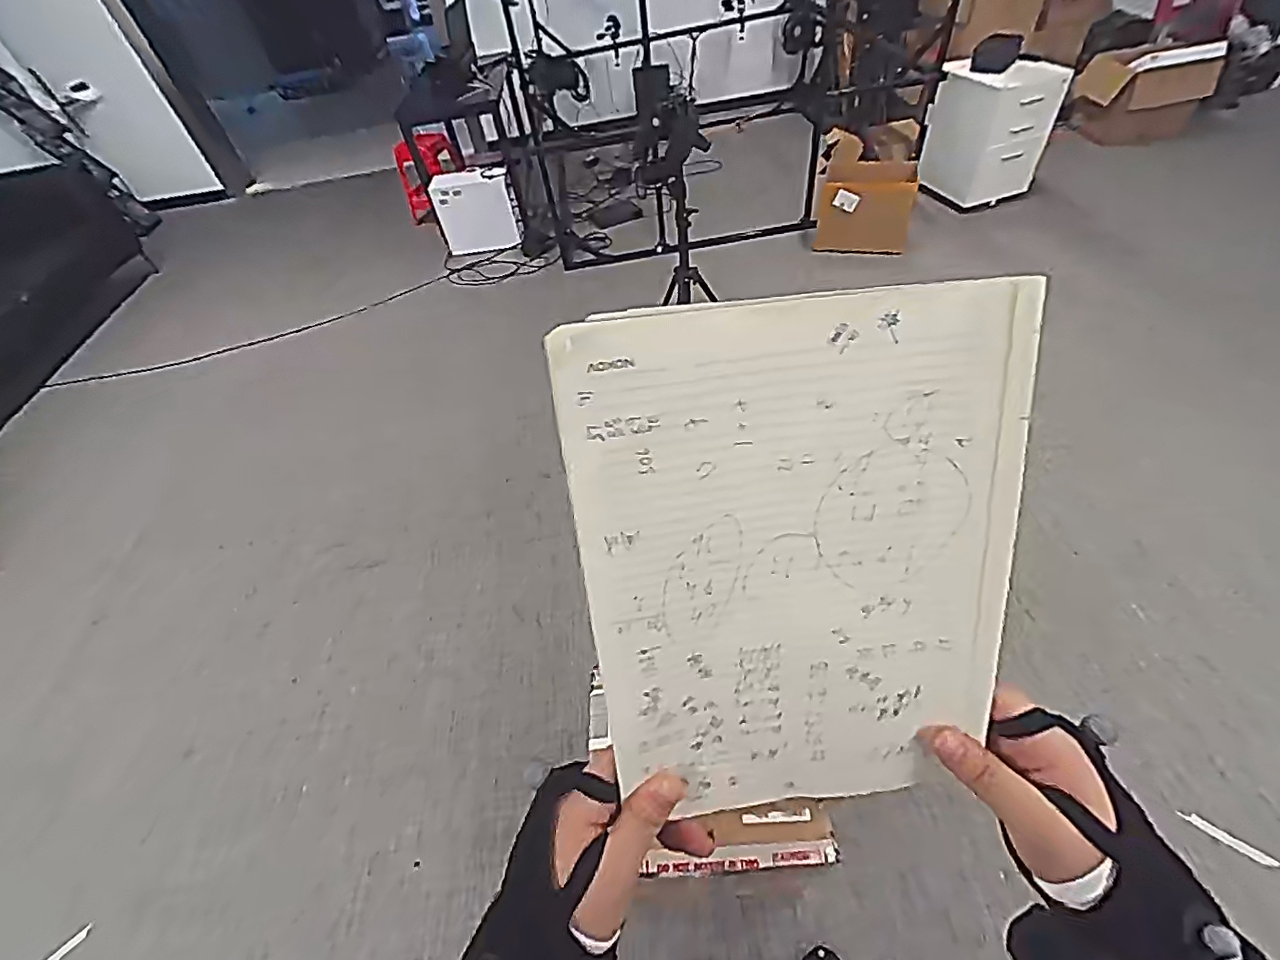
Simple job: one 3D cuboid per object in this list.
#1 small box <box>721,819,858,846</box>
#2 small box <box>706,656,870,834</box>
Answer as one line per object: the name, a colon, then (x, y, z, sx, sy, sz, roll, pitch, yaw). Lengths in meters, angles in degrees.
small box: (0.208, 0.452, 0.834, 0.179, 0.176, 0.168, -6, 49, 1)
small box: (0.177, 0.349, 0.709, 0.168, 0.176, 0.179, -3, 50, 3)
